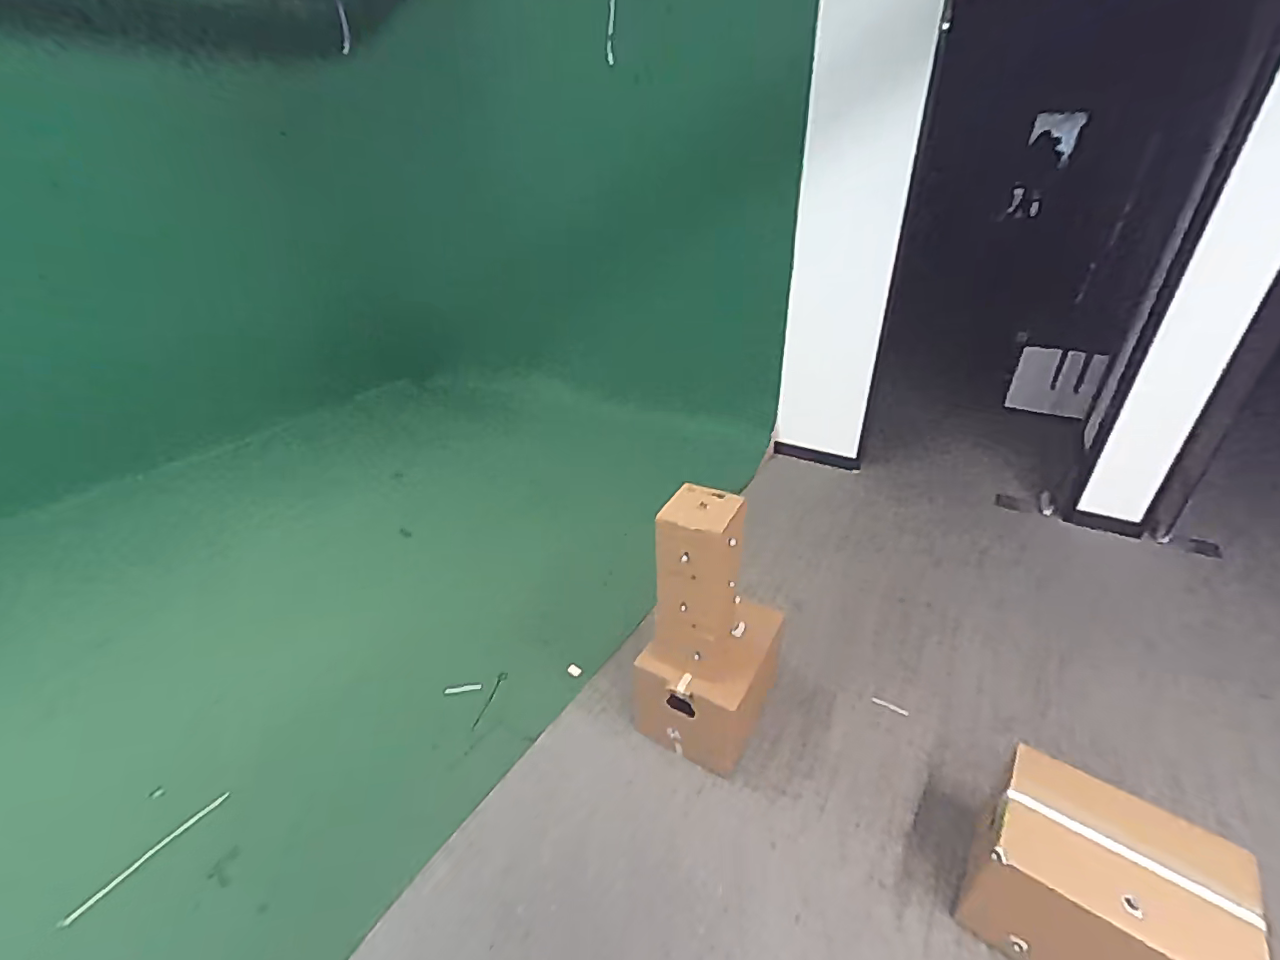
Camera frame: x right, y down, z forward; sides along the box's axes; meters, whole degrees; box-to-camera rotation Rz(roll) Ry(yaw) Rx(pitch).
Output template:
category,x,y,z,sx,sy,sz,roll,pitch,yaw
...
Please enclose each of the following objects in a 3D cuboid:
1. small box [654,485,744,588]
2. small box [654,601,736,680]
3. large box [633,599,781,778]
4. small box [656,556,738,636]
category,x,y,z,sx,sy,sz,roll,pitch,yaw
small box,0.149,0.140,1.340,0.168,0.176,0.179,14,35,25
small box,0.154,0.424,1.505,0.179,0.176,0.168,15,34,27
large box,0.213,0.605,1.673,0.320,0.320,0.408,16,35,28
small box,0.153,0.280,1.426,0.168,0.176,0.179,13,33,23
